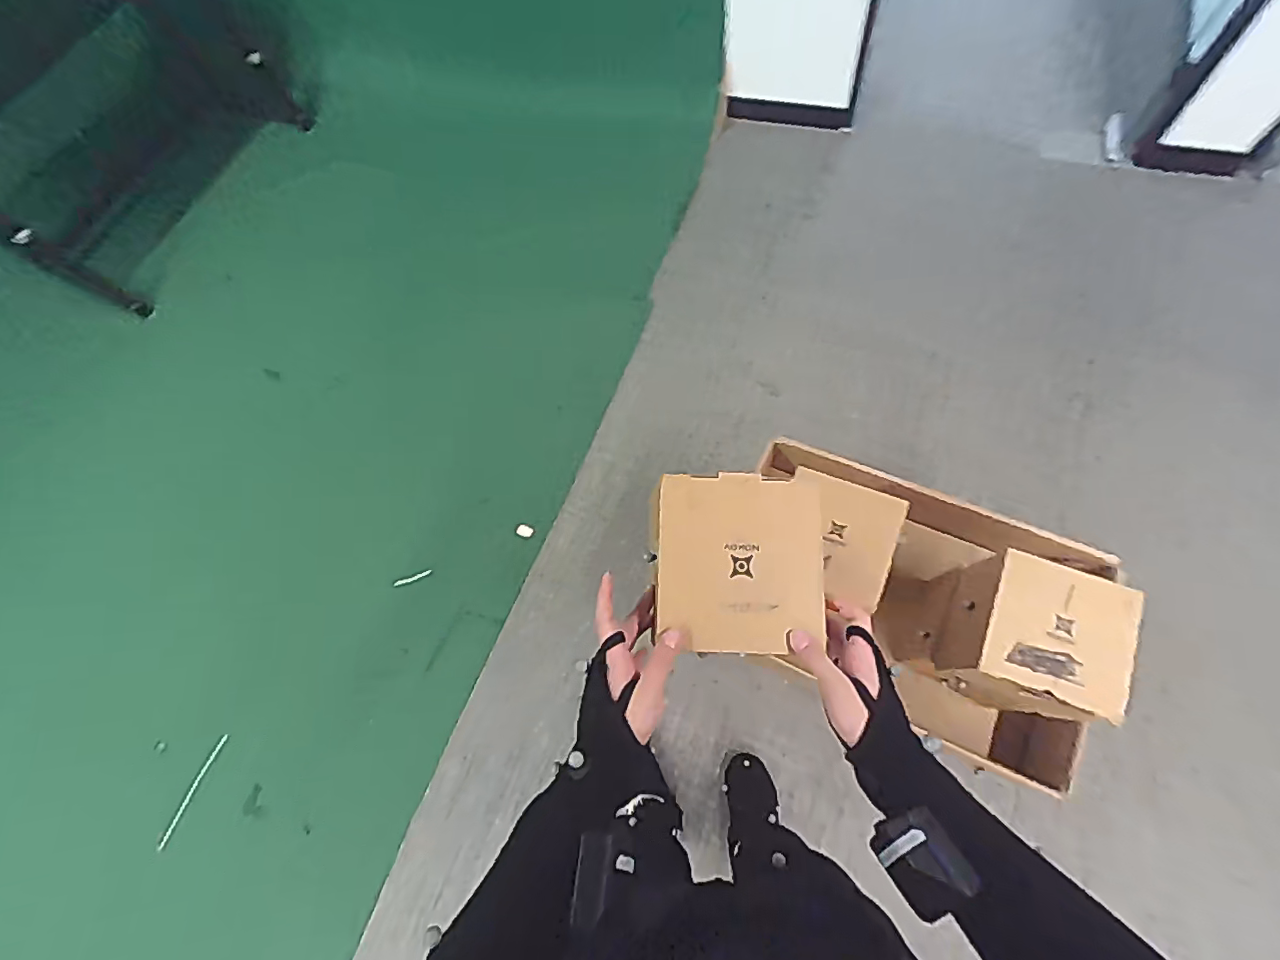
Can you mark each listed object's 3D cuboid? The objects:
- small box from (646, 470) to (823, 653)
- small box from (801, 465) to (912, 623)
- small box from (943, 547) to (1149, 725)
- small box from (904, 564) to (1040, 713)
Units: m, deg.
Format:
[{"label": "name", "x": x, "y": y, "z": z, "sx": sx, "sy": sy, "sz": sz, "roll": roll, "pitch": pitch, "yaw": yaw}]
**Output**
[{"label": "small box", "x": 0.093, "y": 0.095, "z": 0.608, "sx": 0.168, "sy": 0.176, "sz": 0.179, "roll": 2, "pitch": 78, "yaw": -1}, {"label": "small box", "x": 0.299, "y": 0.107, "z": 0.854, "sx": 0.168, "sy": 0.176, "sz": 0.179, "roll": 21, "pitch": 74, "yaw": 17}, {"label": "small box", "x": 0.559, "y": 0.222, "z": 0.768, "sx": 0.168, "sy": 0.176, "sz": 0.179, "roll": 21, "pitch": 74, "yaw": 16}, {"label": "small box", "x": 0.580, "y": 0.270, "z": 0.924, "sx": 0.168, "sy": 0.176, "sz": 0.179, "roll": 25, "pitch": 76, "yaw": 17}]
